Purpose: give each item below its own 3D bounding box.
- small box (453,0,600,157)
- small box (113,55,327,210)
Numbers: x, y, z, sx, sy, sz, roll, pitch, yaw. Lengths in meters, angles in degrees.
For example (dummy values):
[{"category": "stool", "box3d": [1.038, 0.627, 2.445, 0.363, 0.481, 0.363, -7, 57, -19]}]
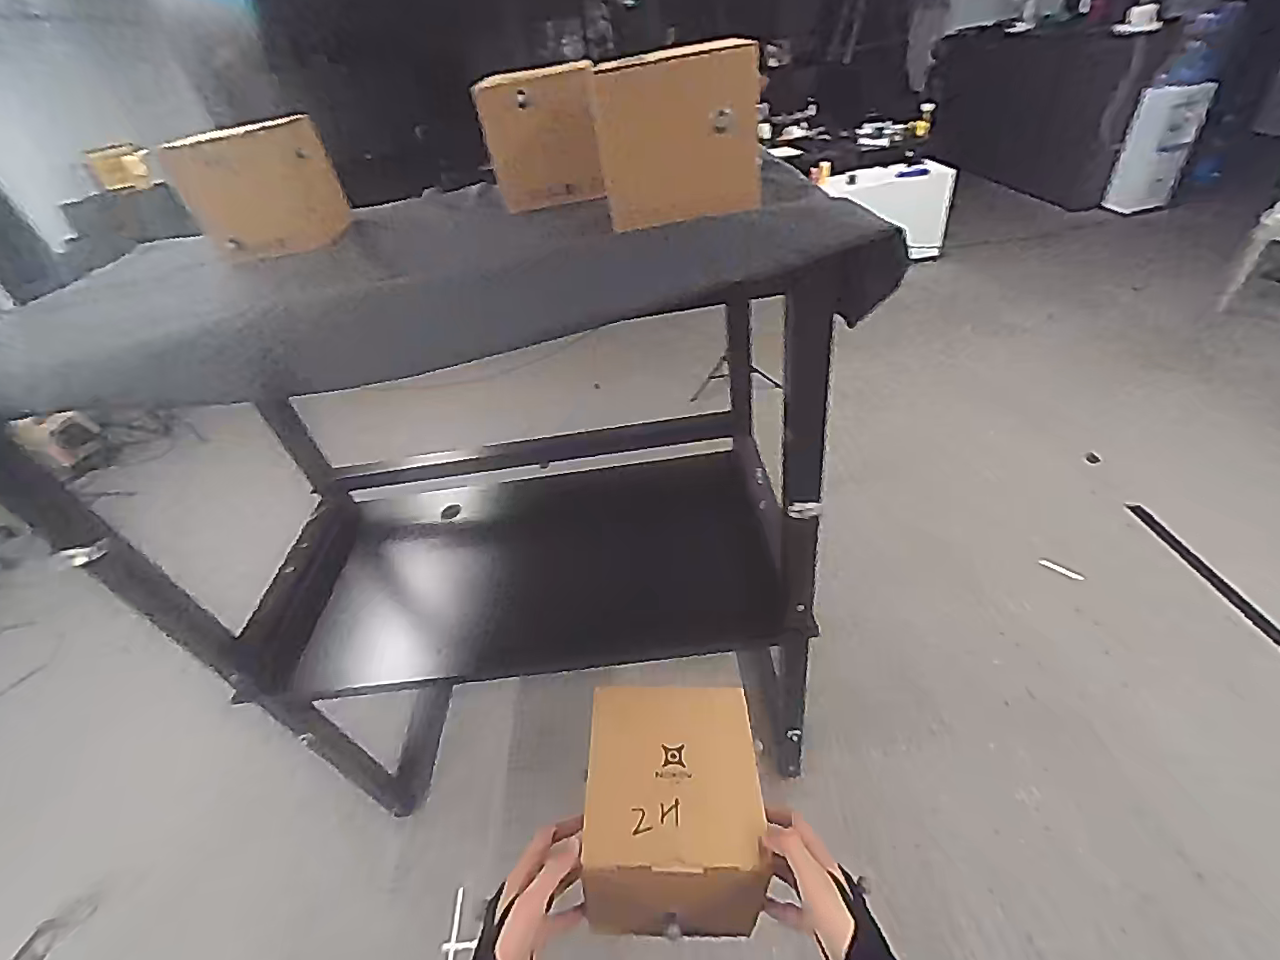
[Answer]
[{"category": "small box", "box3d": [-0.157, -0.603, 0.815, 0.168, 0.176, 0.179, -8, 40, 4]}, {"category": "small box", "box3d": [-0.623, -0.533, 0.835, 0.168, 0.176, 0.179, -10, 40, 0]}]
